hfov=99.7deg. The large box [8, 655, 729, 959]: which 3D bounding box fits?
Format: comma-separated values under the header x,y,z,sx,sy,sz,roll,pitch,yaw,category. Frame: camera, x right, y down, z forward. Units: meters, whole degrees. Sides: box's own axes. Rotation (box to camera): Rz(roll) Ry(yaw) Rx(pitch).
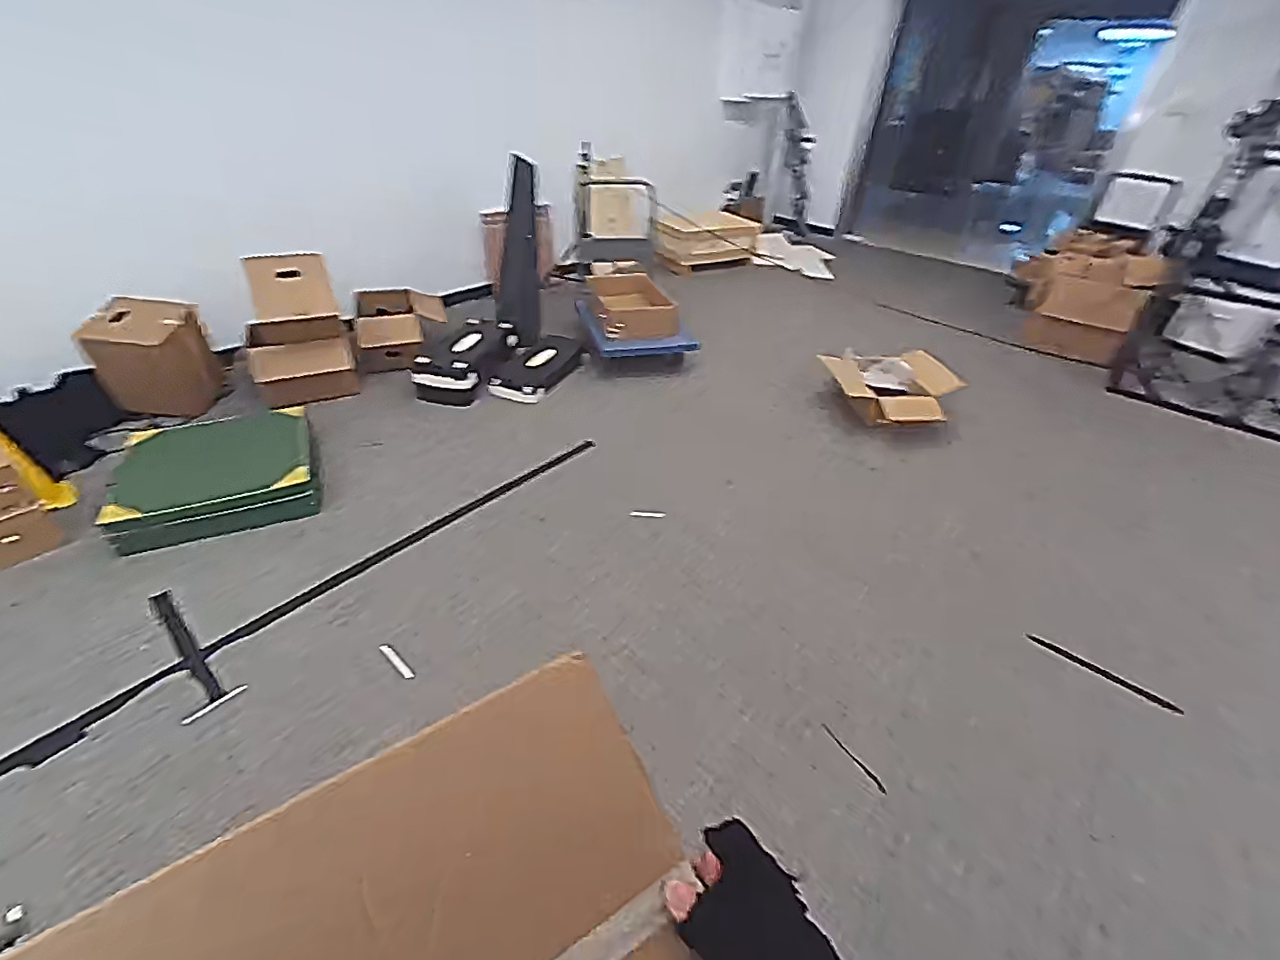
x,y,z,sx,sy,sz,roll,pitch,yaw,category
-0.176,0.386,0.400,0.408,0.320,0.320,-22,74,-24,large box
